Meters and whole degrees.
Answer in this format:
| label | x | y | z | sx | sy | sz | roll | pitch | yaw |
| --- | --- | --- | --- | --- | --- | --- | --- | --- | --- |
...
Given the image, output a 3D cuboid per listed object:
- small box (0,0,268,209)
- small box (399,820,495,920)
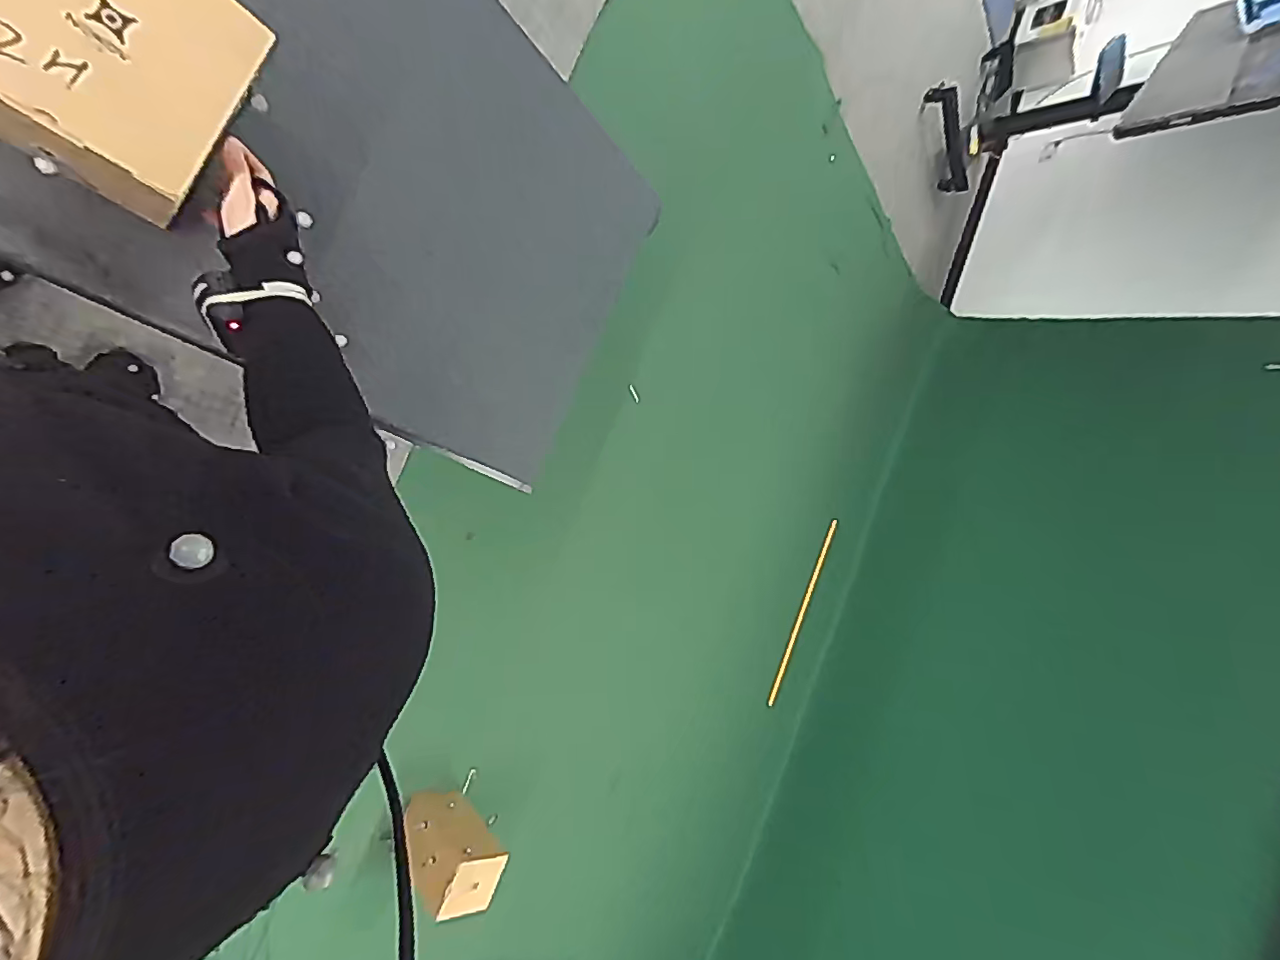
| label | x | y | z | sx | sy | sz | roll | pitch | yaw |
| --- | --- | --- | --- | --- | --- | --- | --- | --- | --- |
| small box | -0.454 | -0.360 | 0.447 | 0.168 | 0.176 | 0.179 | 31 | 79 | -45 |
| small box | -0.572 | 1.141 | 1.599 | 0.179 | 0.176 | 0.168 | 30 | 80 | -46 |
